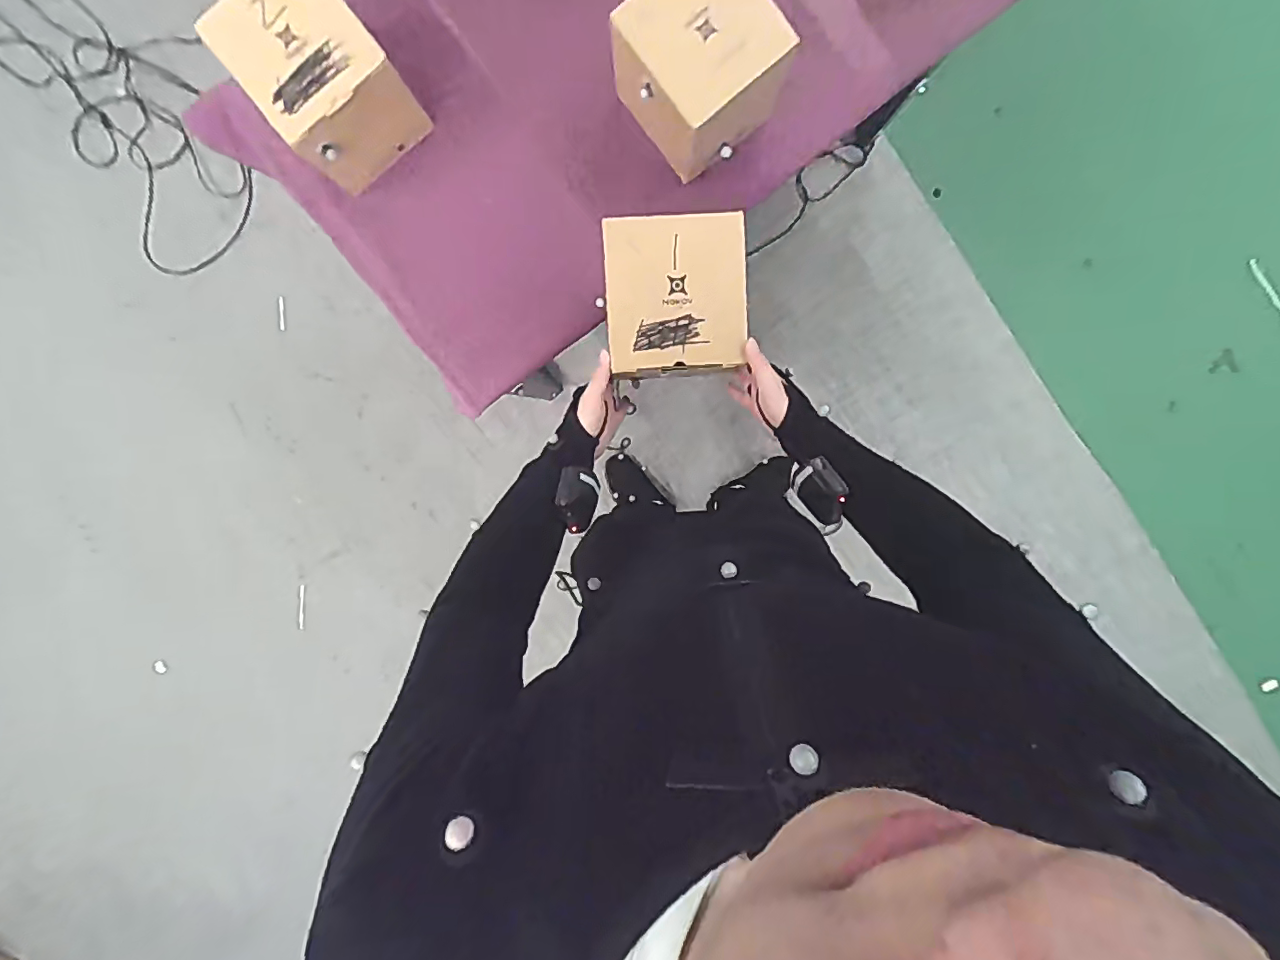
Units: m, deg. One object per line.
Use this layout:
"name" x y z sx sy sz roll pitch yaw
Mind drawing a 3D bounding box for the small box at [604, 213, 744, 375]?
"small box" 0.042 -0.231 0.717 0.168 0.176 0.179 -3 97 0

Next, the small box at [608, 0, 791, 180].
"small box" 0.076 -0.566 0.750 0.168 0.176 0.179 -37 94 7
